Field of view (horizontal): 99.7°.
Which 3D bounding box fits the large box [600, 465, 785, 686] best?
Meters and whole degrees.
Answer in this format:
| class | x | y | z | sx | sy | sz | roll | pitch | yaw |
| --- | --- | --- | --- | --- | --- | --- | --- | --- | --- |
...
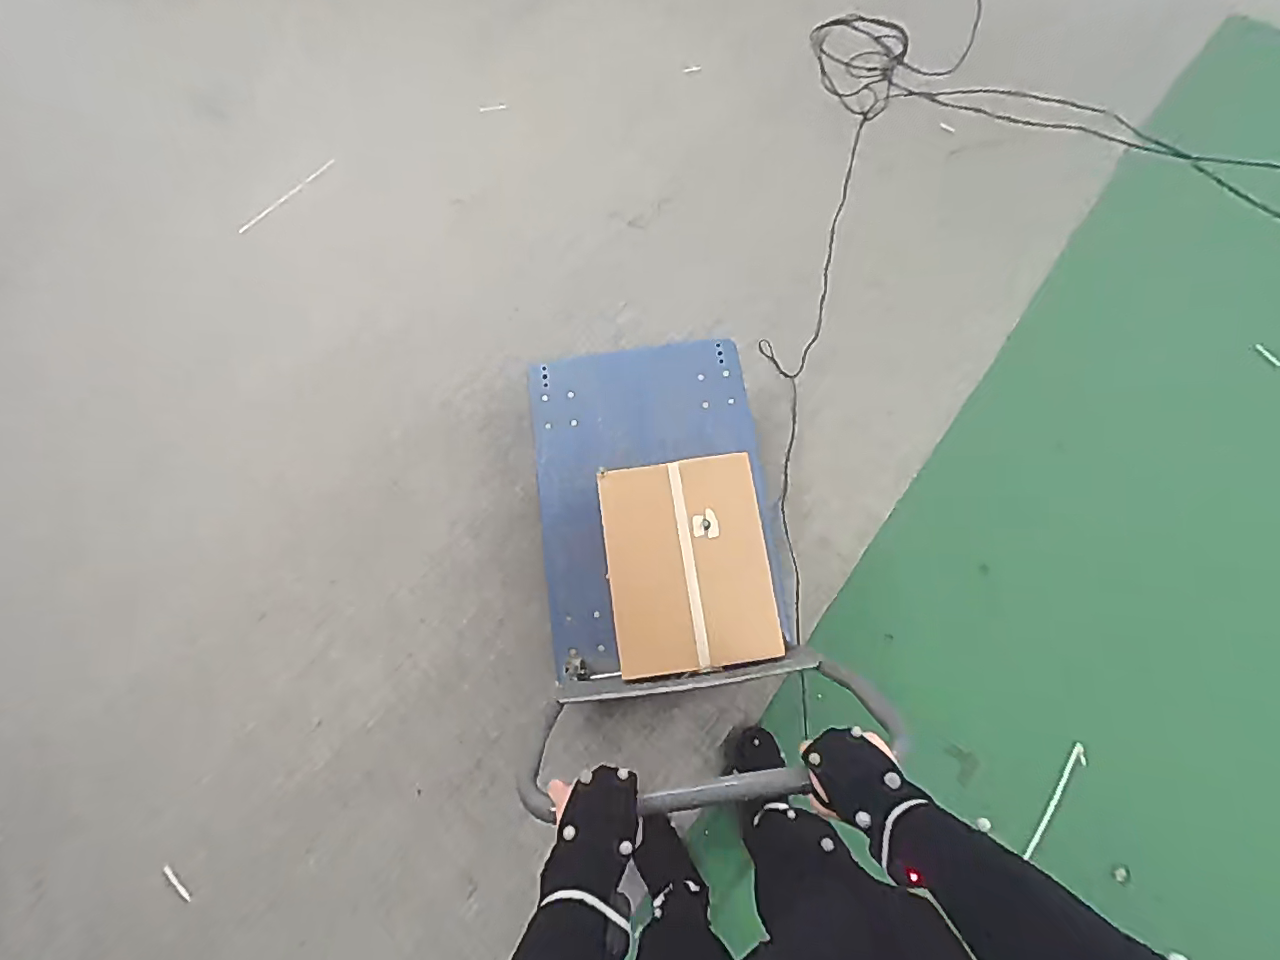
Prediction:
| class | x | y | z | sx | sy | sz | roll | pitch | yaw |
| --- | --- | --- | --- | --- | --- | --- | --- | --- | --- |
| large box | 0.102 | 0.217 | 1.218 | 0.320 | 0.320 | 0.408 | -8 | 76 | -1 |
